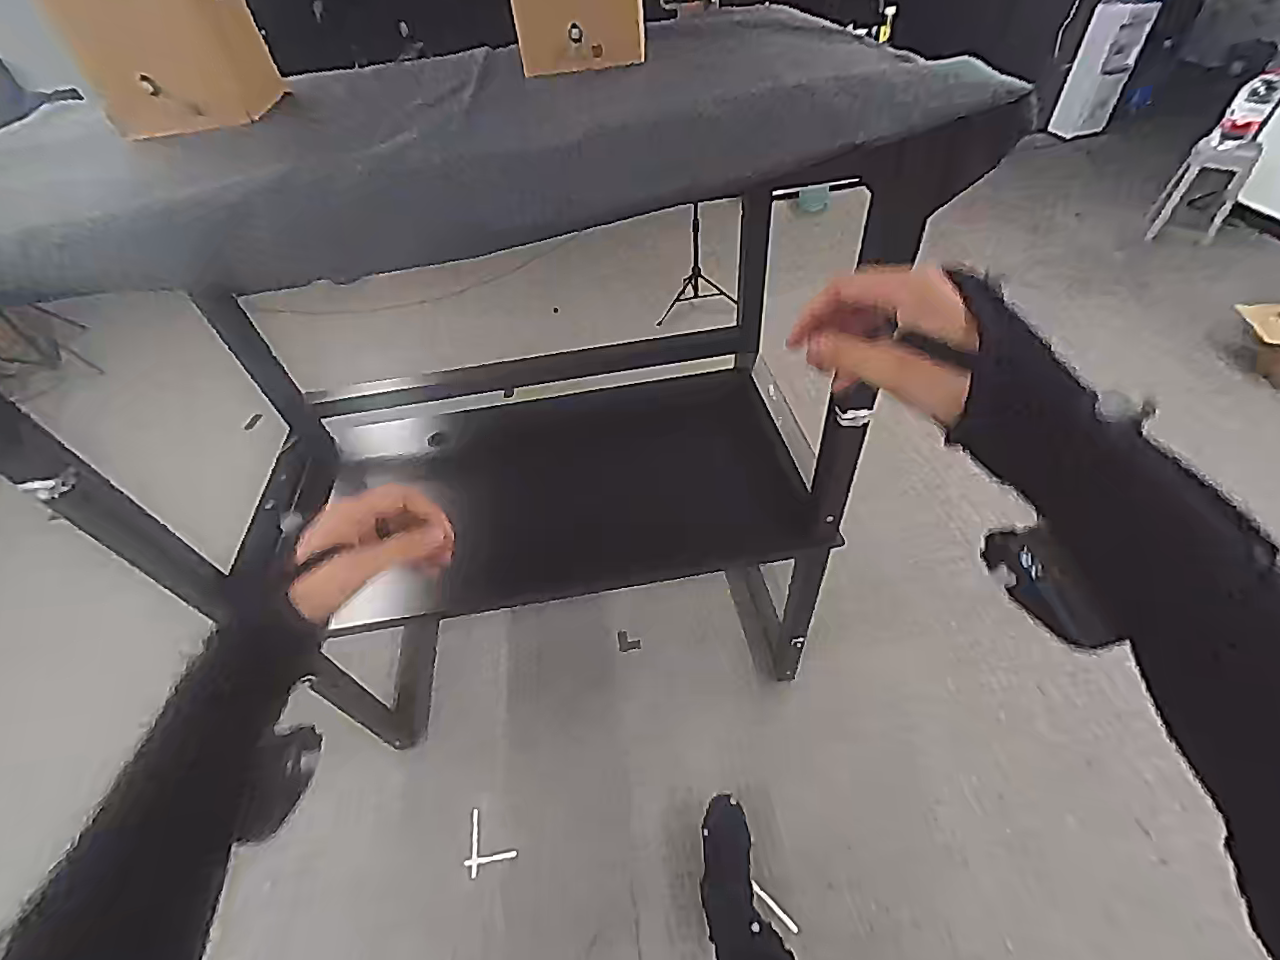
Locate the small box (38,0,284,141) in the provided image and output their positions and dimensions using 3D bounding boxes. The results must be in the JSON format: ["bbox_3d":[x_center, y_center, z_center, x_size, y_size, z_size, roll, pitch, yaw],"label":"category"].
[{"bbox_3d":[-0.605,-0.566,0.705,0.168,0.176,0.179,-11,49,-3],"label":"small box"}]
